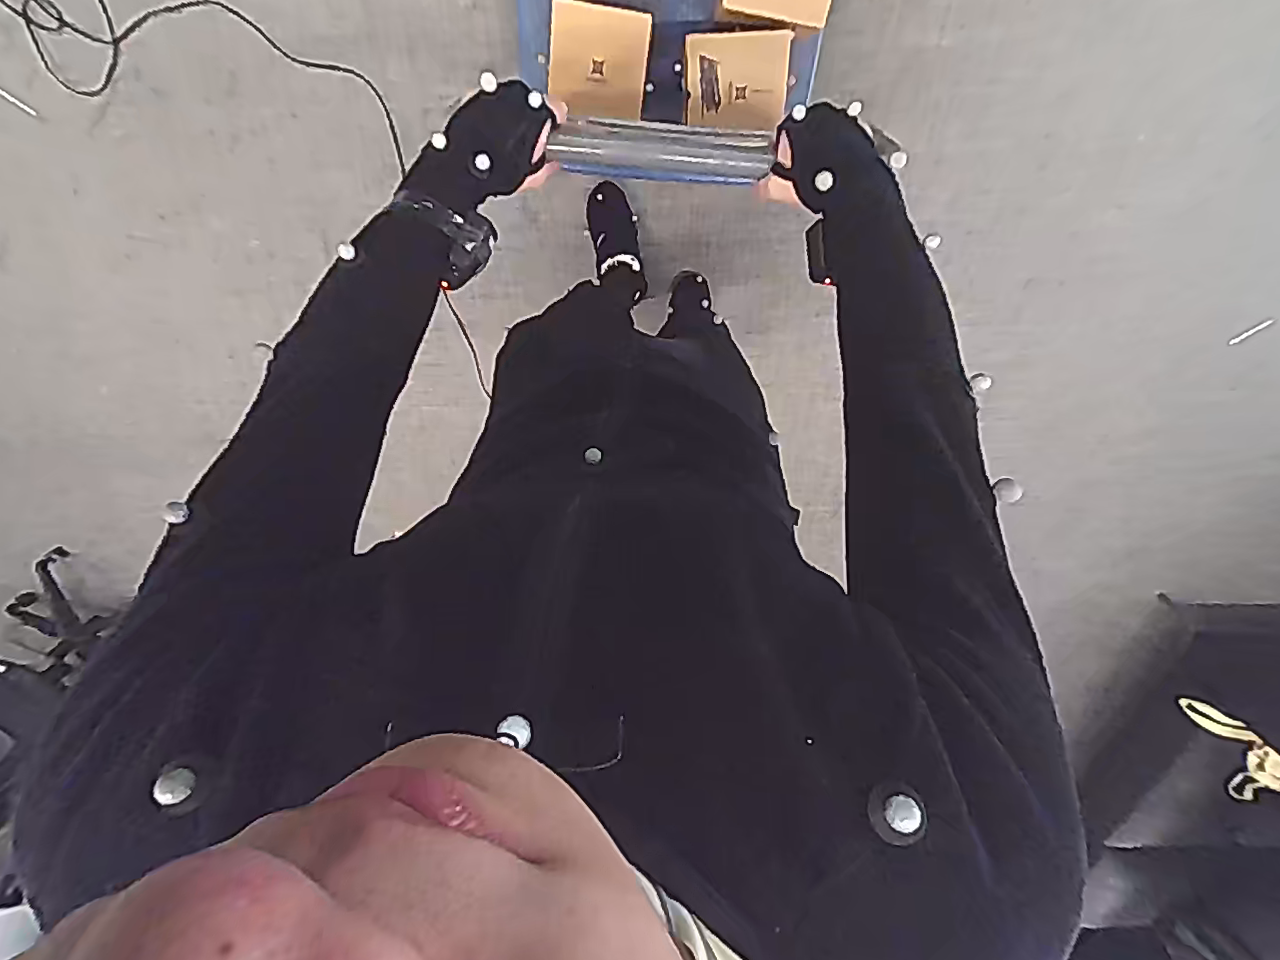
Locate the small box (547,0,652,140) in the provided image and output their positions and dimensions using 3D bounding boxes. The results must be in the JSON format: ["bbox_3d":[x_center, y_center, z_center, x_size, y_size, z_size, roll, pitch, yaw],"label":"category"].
[{"bbox_3d":[-0.074,-0.740,0.991,0.168,0.176,0.179,7,123,-4],"label":"small box"}]
